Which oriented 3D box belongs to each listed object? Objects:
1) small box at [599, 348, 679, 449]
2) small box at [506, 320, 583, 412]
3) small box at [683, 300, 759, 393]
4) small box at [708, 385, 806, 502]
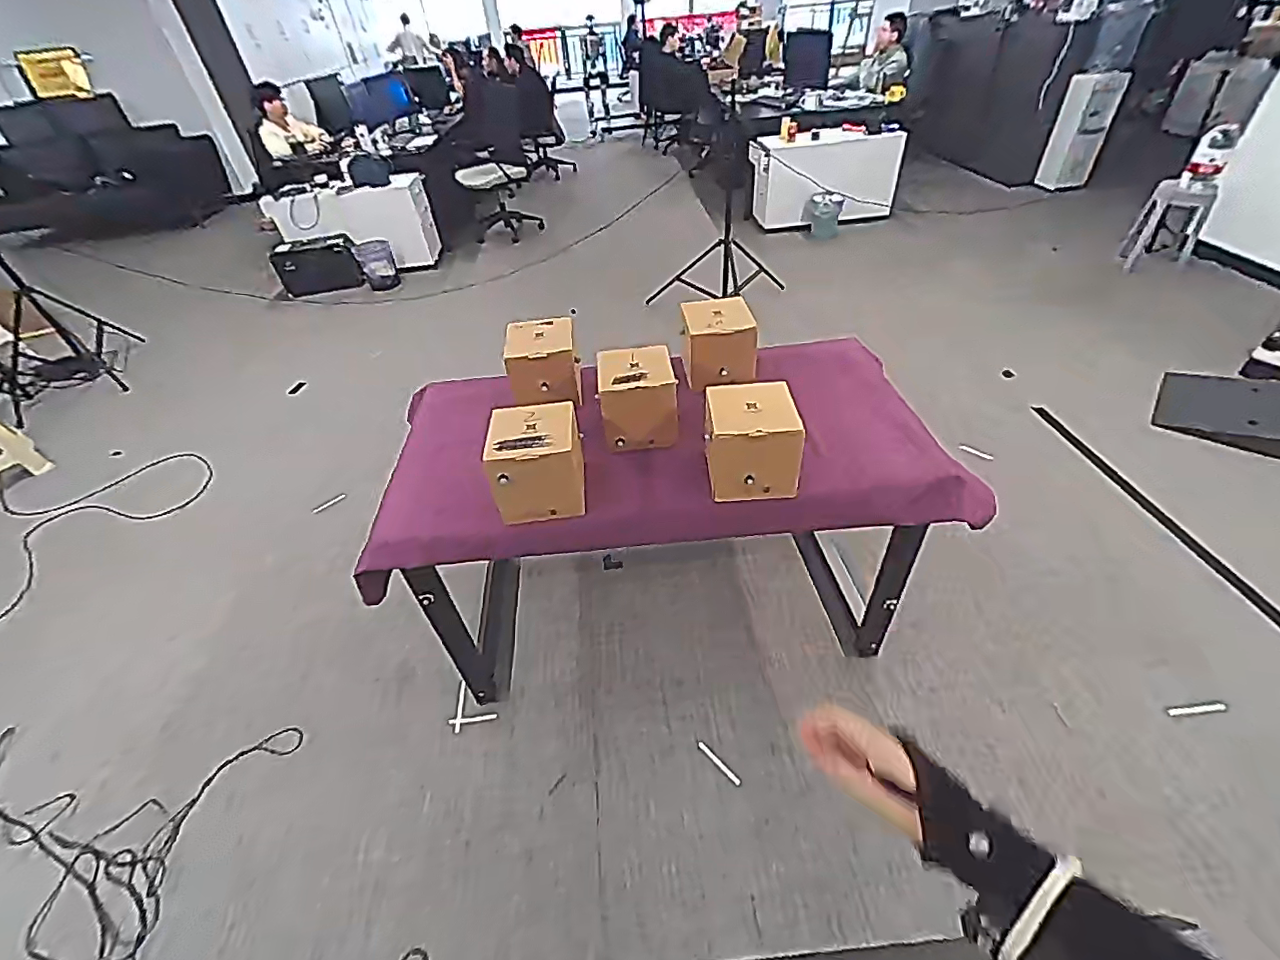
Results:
[{"bbox_3d":[-0.003,-0.184,1.254,0.168,0.176,0.179,-6,41,-1],"label":"small box"},{"bbox_3d":[-0.240,-0.287,1.393,0.168,0.176,0.179,-7,44,-2],"label":"small box"},{"bbox_3d":[0.204,-0.348,1.410,0.168,0.176,0.179,-7,43,0],"label":"small box"},{"bbox_3d":[0.228,-0.075,1.106,0.168,0.176,0.179,-4,41,3],"label":"small box"}]
